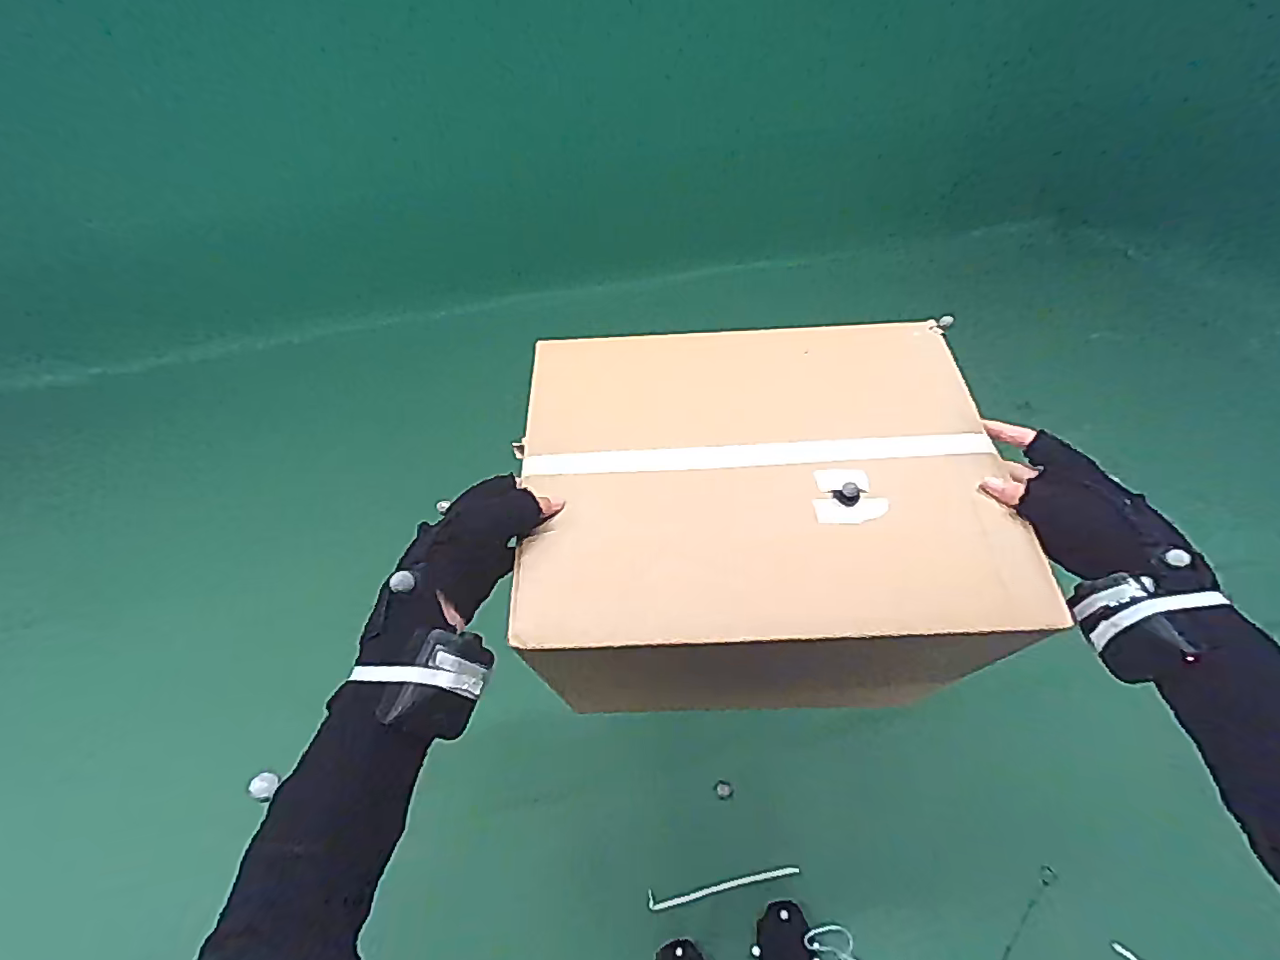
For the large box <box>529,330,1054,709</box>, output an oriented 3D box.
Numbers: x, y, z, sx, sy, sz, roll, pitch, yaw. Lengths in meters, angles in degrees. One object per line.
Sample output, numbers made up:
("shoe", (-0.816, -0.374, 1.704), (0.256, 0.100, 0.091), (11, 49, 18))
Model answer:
("large box", (0.111, 0.061, 0.607), (0.408, 0.320, 0.320), (-2, 58, 1))
